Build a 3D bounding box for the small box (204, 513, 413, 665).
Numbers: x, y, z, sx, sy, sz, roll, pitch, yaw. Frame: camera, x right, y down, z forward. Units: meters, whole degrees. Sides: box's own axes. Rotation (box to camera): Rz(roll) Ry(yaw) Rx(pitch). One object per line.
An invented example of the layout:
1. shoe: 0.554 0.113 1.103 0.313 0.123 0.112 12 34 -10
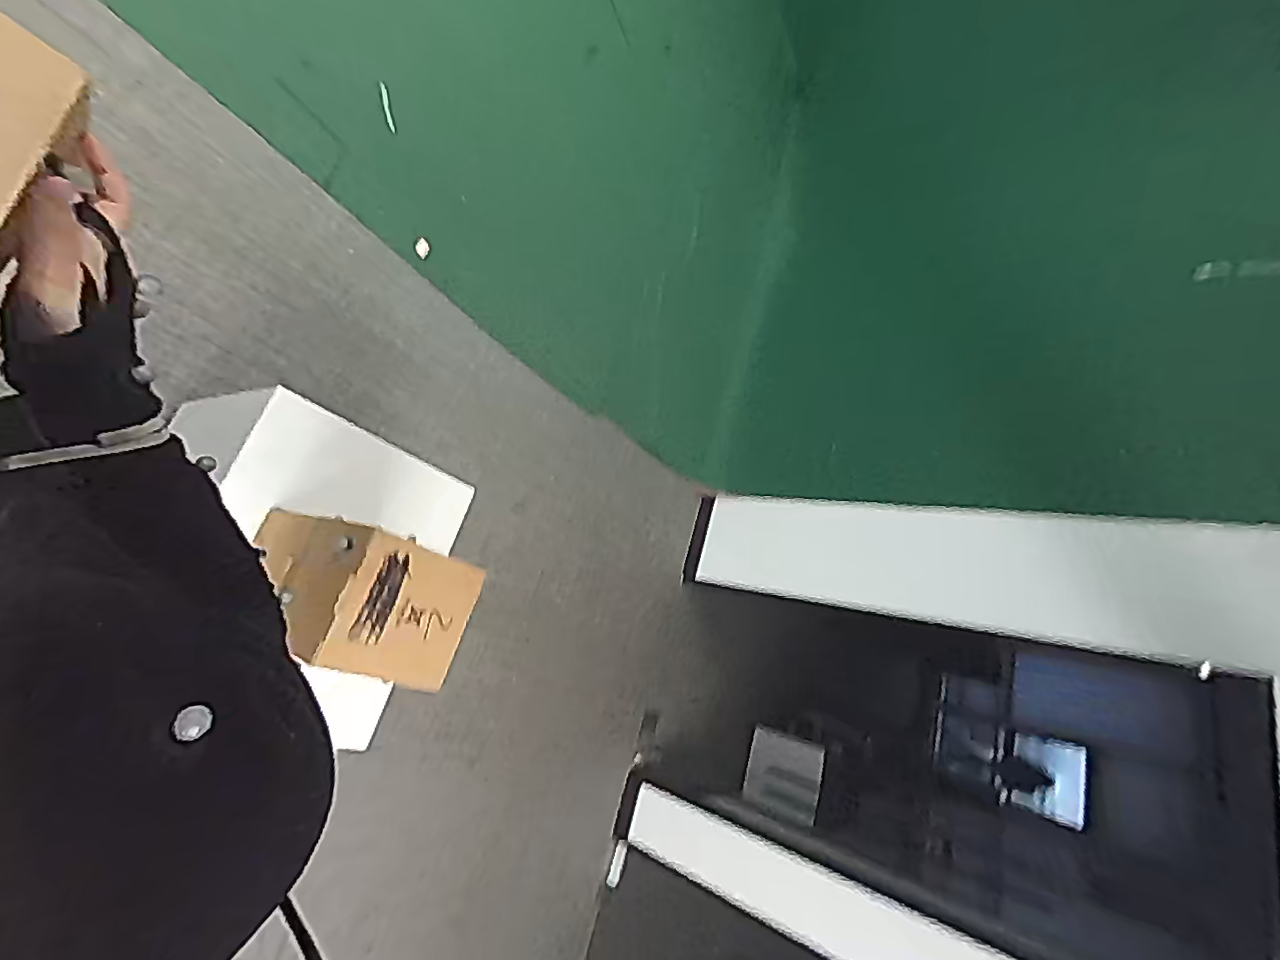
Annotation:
1. small box: -0.482 0.156 0.795 0.179 0.176 0.168 40 61 -47
